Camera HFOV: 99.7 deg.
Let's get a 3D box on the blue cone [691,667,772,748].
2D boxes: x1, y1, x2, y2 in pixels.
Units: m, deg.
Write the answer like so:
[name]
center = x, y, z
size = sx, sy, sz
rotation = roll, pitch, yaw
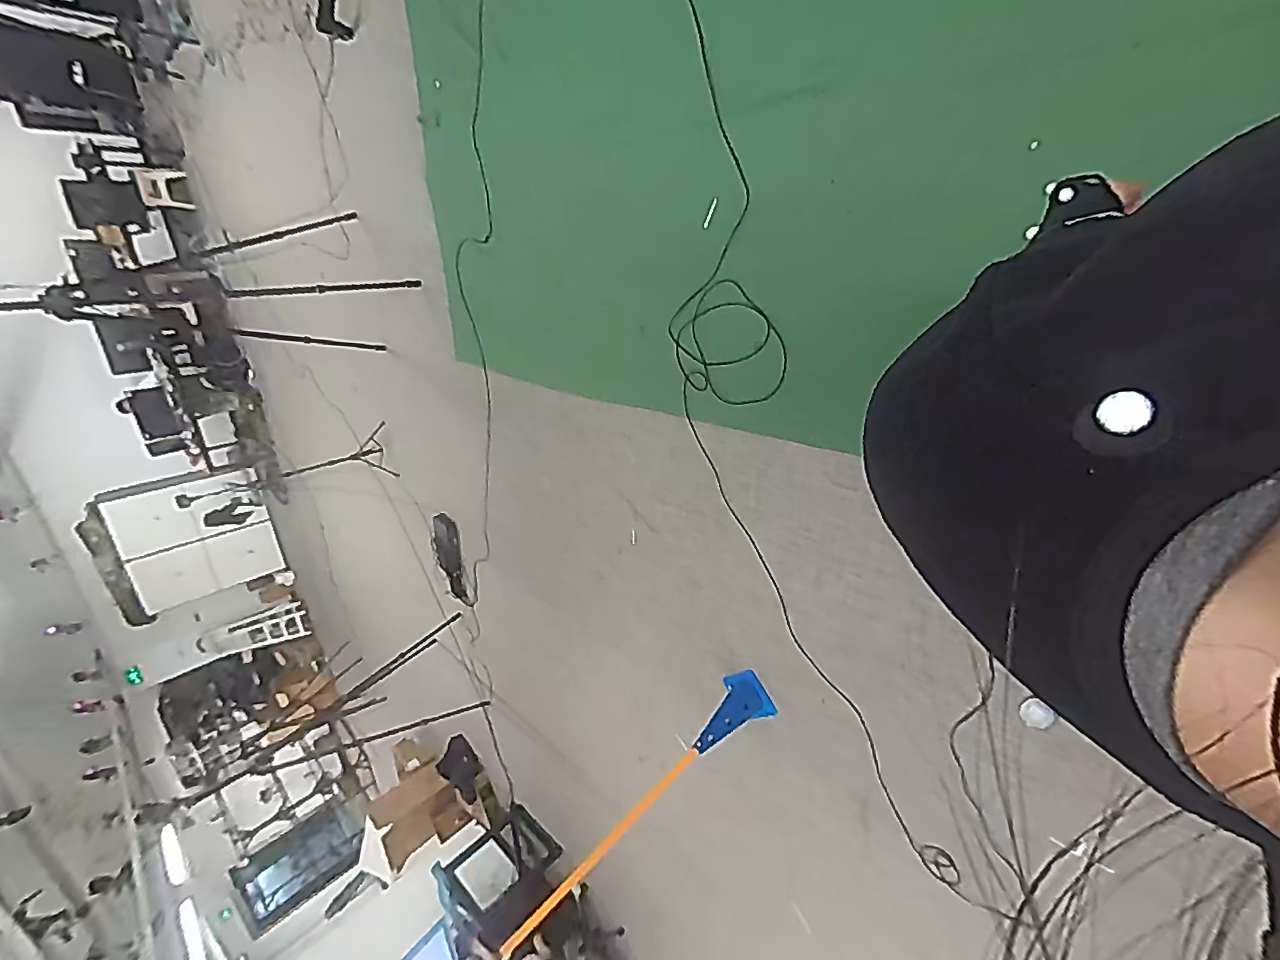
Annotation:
[blue cone]
center = 0.335, 0.928, 2.132
size = 0.192, 0.380, 0.193
rotation = 56, 140, 9
